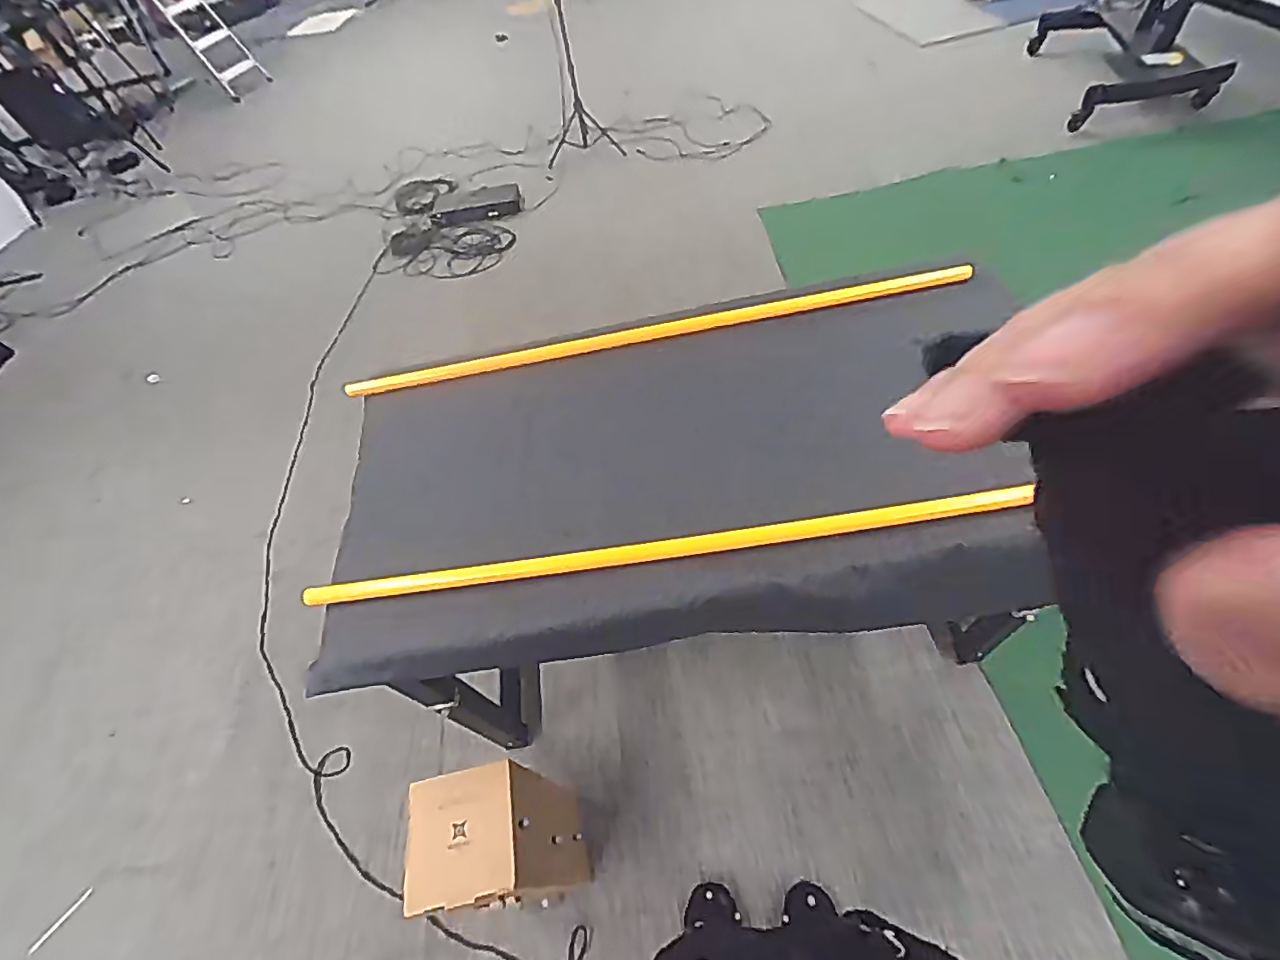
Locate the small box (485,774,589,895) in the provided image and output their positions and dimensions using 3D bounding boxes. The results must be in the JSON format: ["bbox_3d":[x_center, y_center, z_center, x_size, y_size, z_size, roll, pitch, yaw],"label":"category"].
[{"bbox_3d":[-0.216,0.754,1.151,0.168,0.176,0.179,-17,55,-2],"label":"small box"}]
